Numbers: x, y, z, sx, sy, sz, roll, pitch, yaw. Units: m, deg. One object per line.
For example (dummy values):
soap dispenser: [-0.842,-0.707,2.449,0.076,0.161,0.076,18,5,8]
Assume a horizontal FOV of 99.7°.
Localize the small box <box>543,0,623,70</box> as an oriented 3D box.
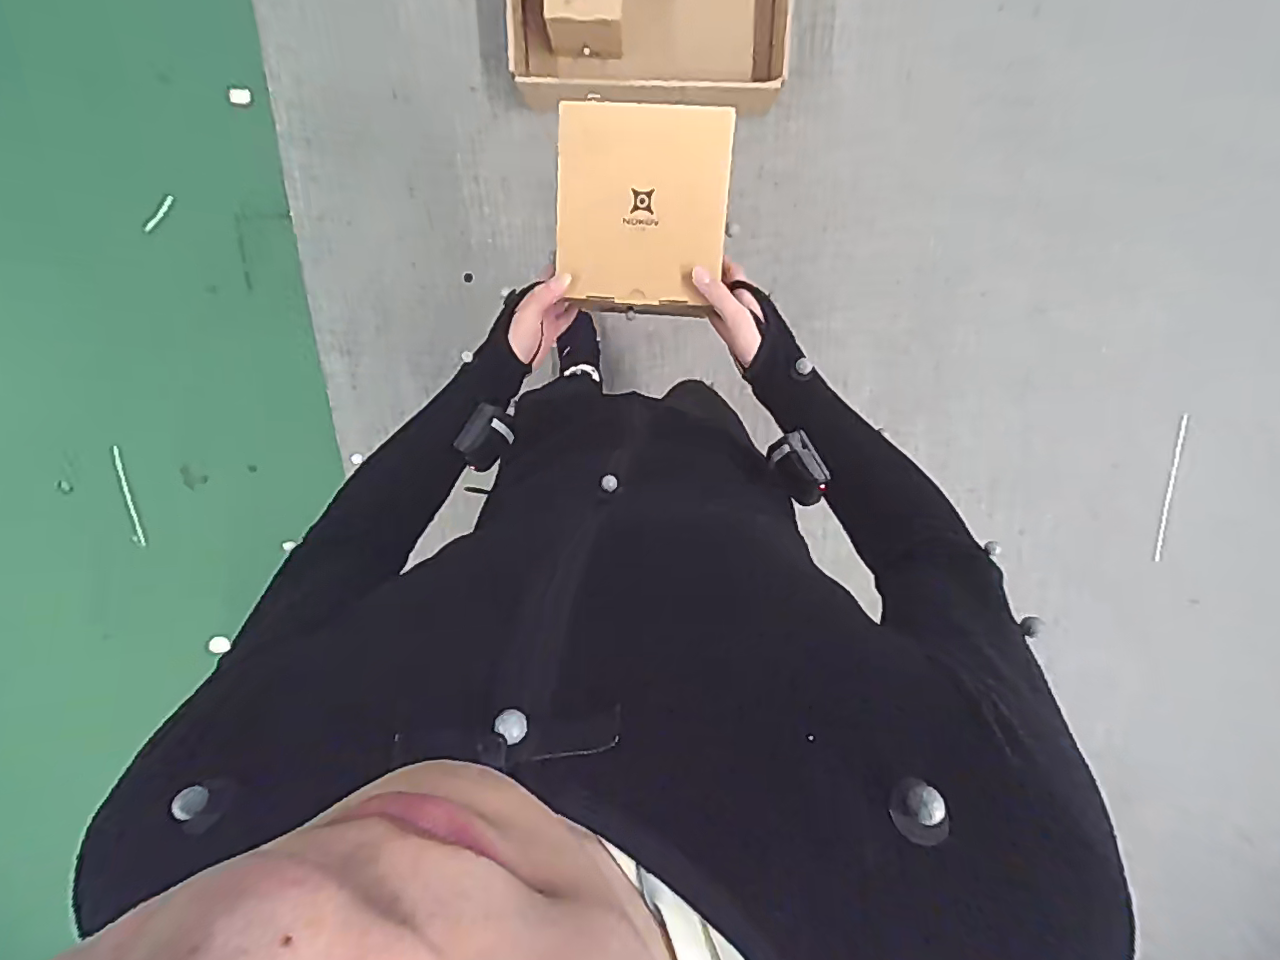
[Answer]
small box: [-0.124,-1.058,1.202,0.168,0.176,0.179,1,104,-1]
